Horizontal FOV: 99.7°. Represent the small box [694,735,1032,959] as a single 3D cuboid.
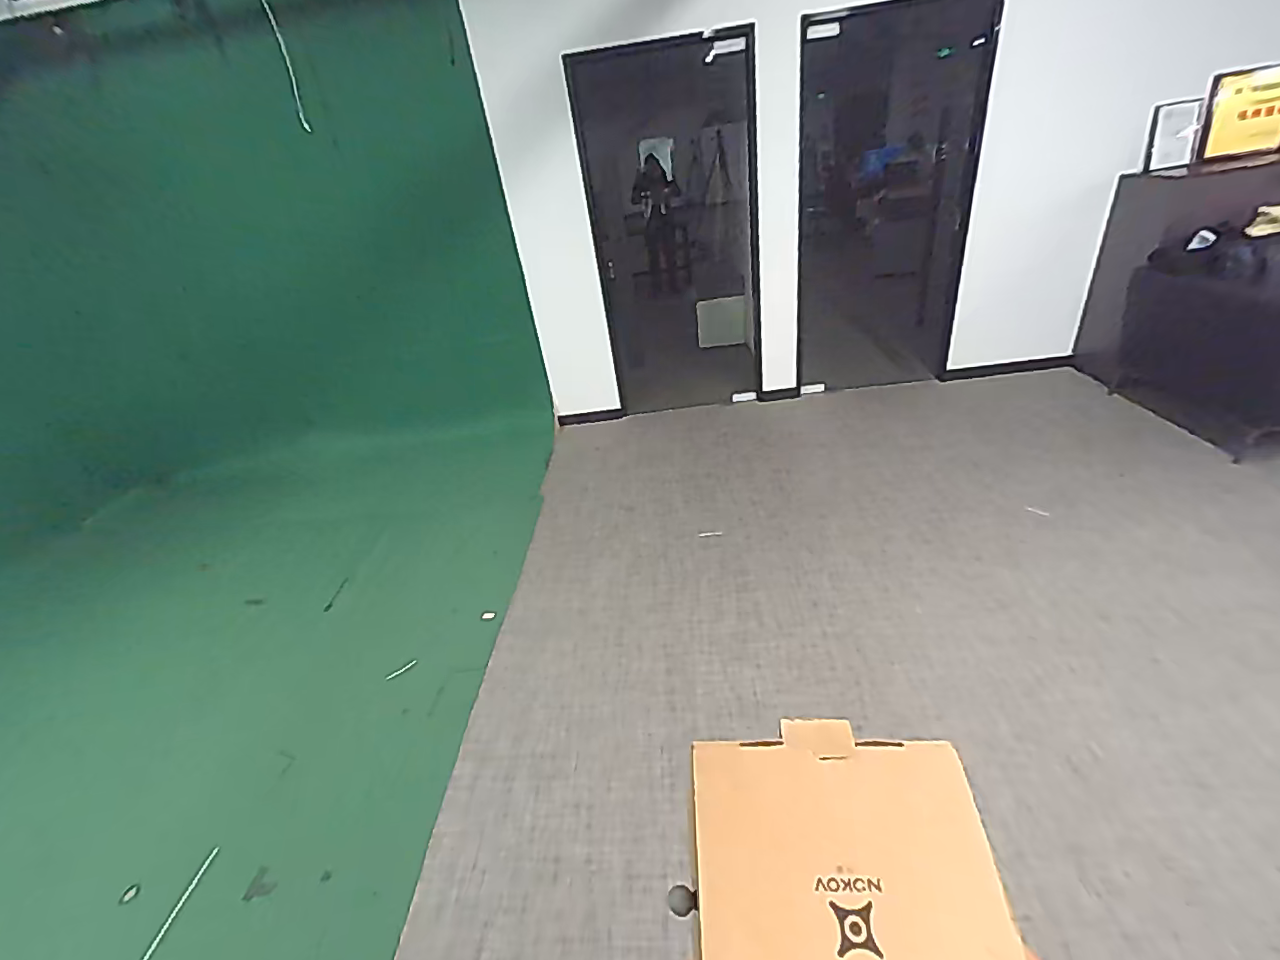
[{"bbox_3d":[0.121,0.281,0.348,0.168,0.176,0.179,-2,48,3],"label":"small box"}]
